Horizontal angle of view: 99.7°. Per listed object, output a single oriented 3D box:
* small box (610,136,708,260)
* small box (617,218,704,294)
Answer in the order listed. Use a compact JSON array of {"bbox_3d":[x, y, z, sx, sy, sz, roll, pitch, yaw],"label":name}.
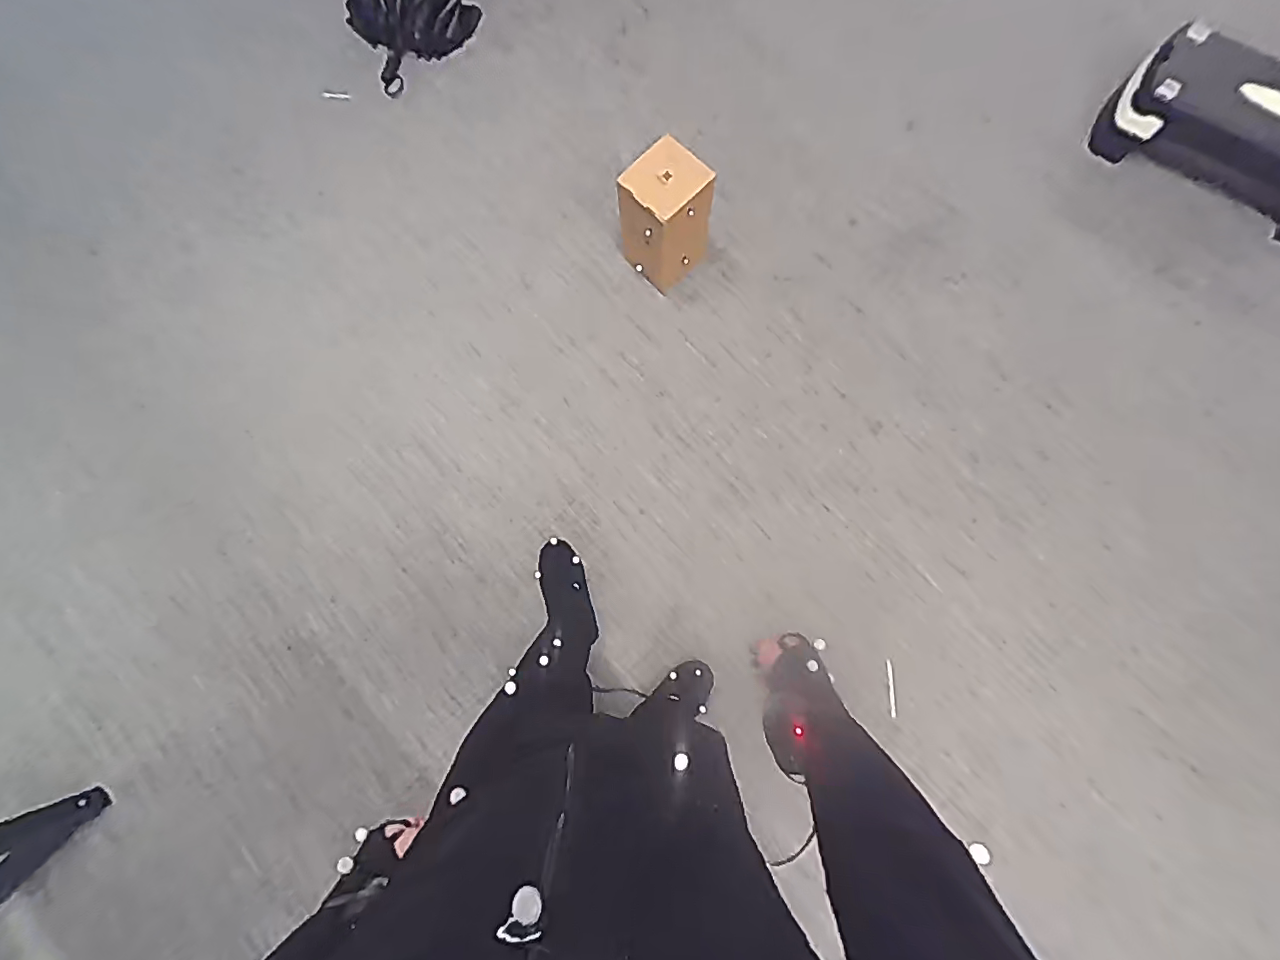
[{"bbox_3d":[0.048,-0.692,1.345,0.168,0.176,0.179,43,83,8],"label":"small box"},{"bbox_3d":[0.055,-0.662,1.505,0.179,0.176,0.168,-44,80,-6],"label":"small box"}]
